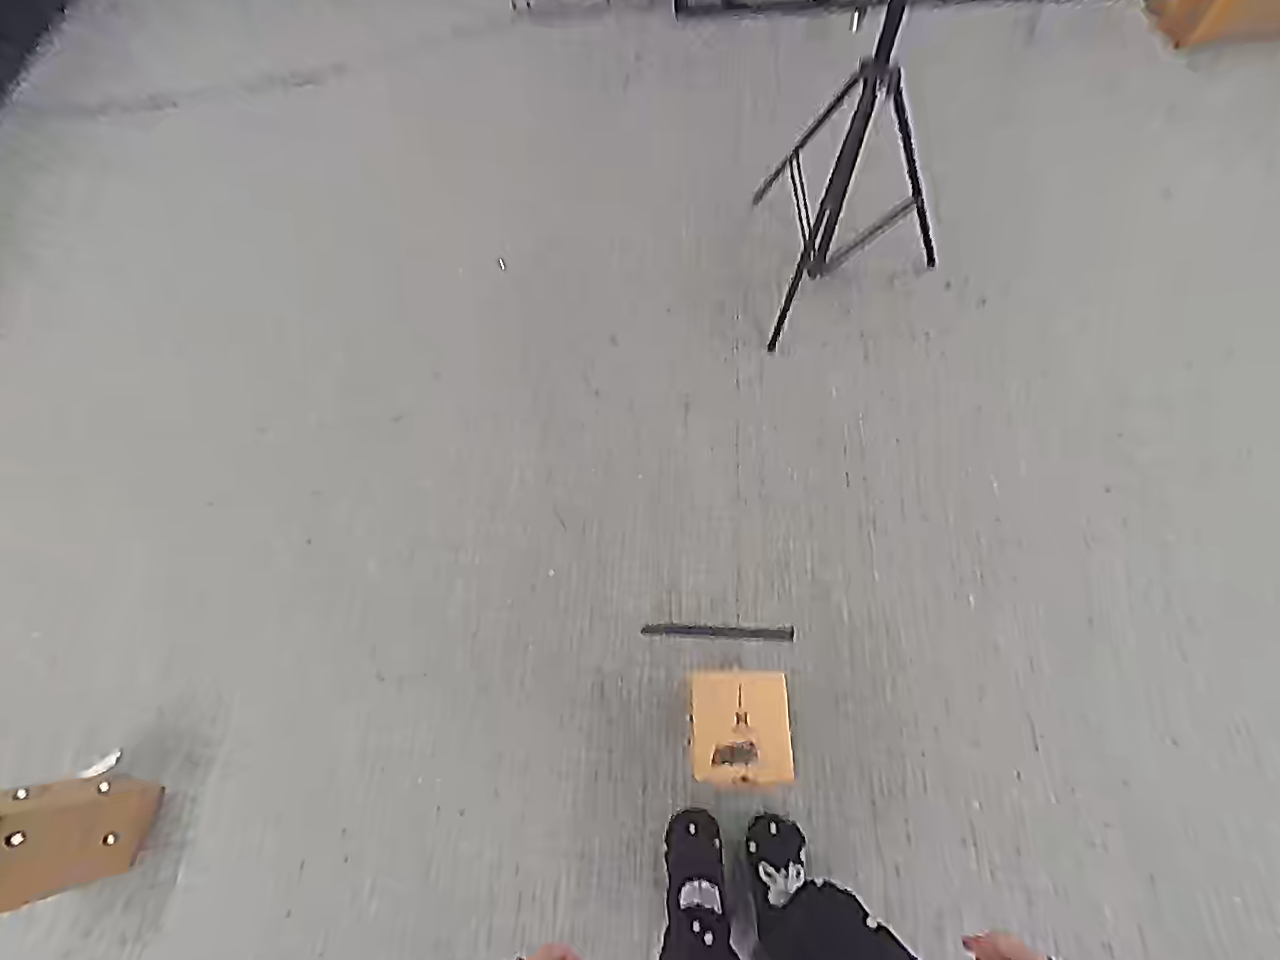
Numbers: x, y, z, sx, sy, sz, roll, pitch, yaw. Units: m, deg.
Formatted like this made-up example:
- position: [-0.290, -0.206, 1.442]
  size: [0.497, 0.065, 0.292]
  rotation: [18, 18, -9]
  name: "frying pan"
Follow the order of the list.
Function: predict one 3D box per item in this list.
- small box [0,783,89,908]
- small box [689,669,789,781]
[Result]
- position: [-1.224, 0.692, 1.026]
  size: [0.168, 0.176, 0.179]
  rotation: [6, 70, 8]
  name: "small box"
- position: [0.176, 0.450, 1.011]
  size: [0.168, 0.176, 0.179]
  rotation: [-1, 67, 4]
  name: "small box"
